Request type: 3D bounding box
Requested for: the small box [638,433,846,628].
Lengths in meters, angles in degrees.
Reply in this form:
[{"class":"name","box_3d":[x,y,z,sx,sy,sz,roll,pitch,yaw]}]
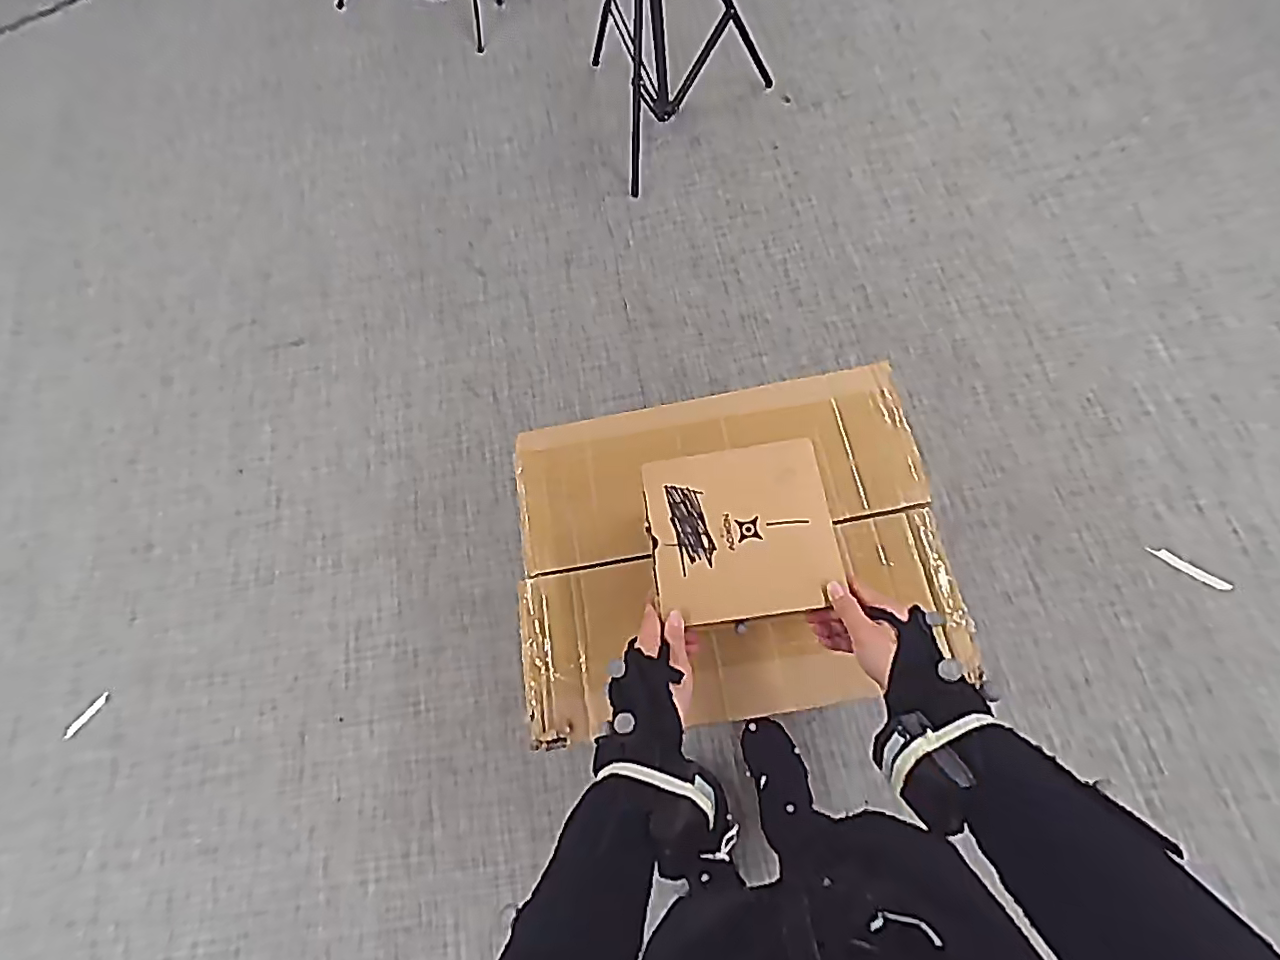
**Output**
[{"class":"small box","box_3d":[0.103,0.067,0.595,0.179,0.176,0.168,-9,72,4]}]
